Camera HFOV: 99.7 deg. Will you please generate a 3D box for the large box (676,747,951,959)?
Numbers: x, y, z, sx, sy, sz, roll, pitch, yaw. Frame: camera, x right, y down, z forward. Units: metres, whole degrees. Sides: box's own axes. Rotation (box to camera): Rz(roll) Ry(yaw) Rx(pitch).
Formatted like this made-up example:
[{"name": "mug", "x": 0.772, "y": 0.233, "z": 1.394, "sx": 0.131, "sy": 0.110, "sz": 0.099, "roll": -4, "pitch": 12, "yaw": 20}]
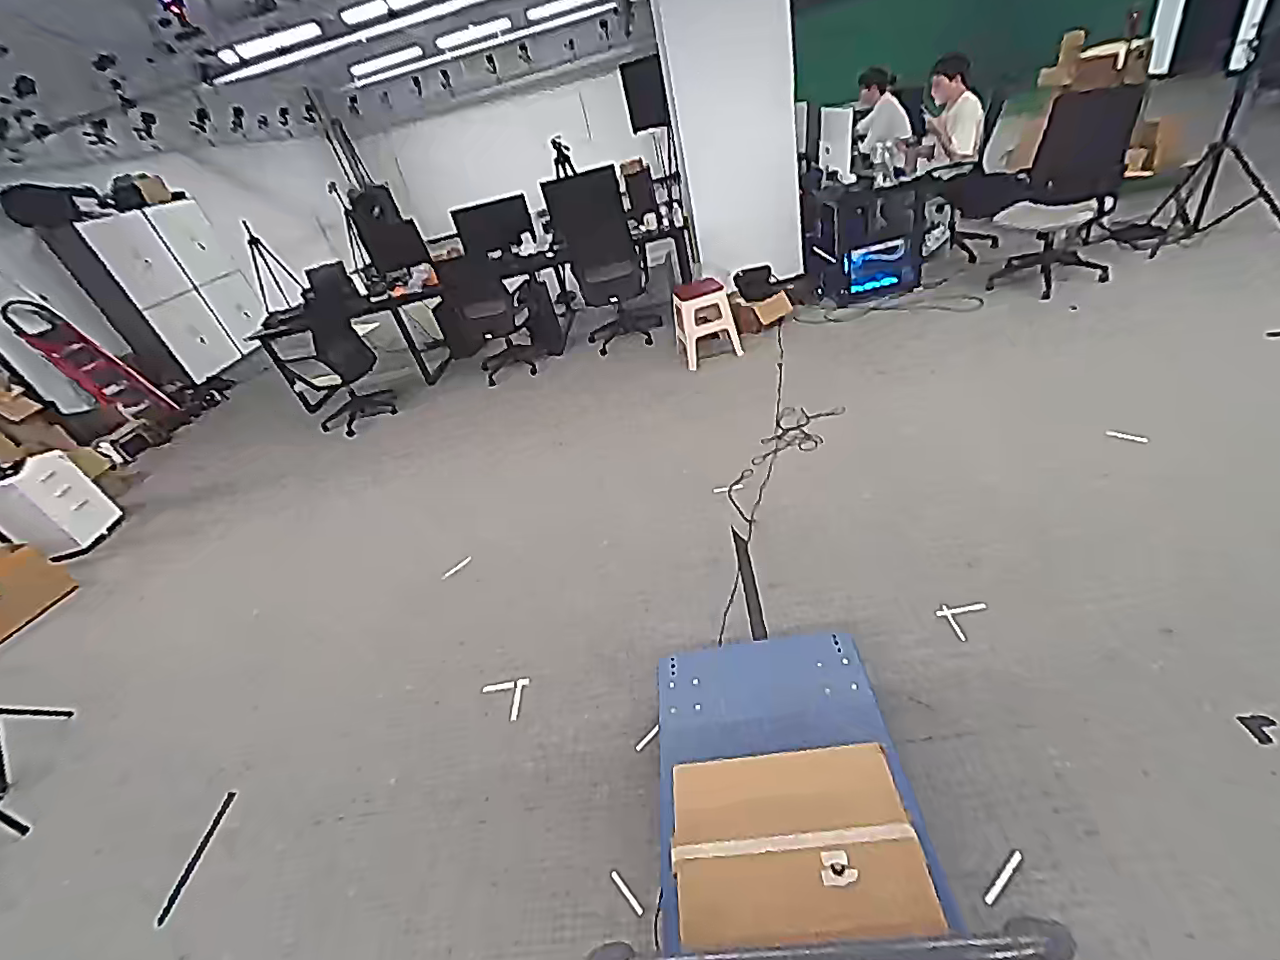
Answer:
[{"name": "large box", "x": 0.298, "y": 0.759, "z": 1.021, "sx": 0.408, "sy": 0.320, "sz": 0.320, "roll": -11, "pitch": 35, "yaw": 7}]
